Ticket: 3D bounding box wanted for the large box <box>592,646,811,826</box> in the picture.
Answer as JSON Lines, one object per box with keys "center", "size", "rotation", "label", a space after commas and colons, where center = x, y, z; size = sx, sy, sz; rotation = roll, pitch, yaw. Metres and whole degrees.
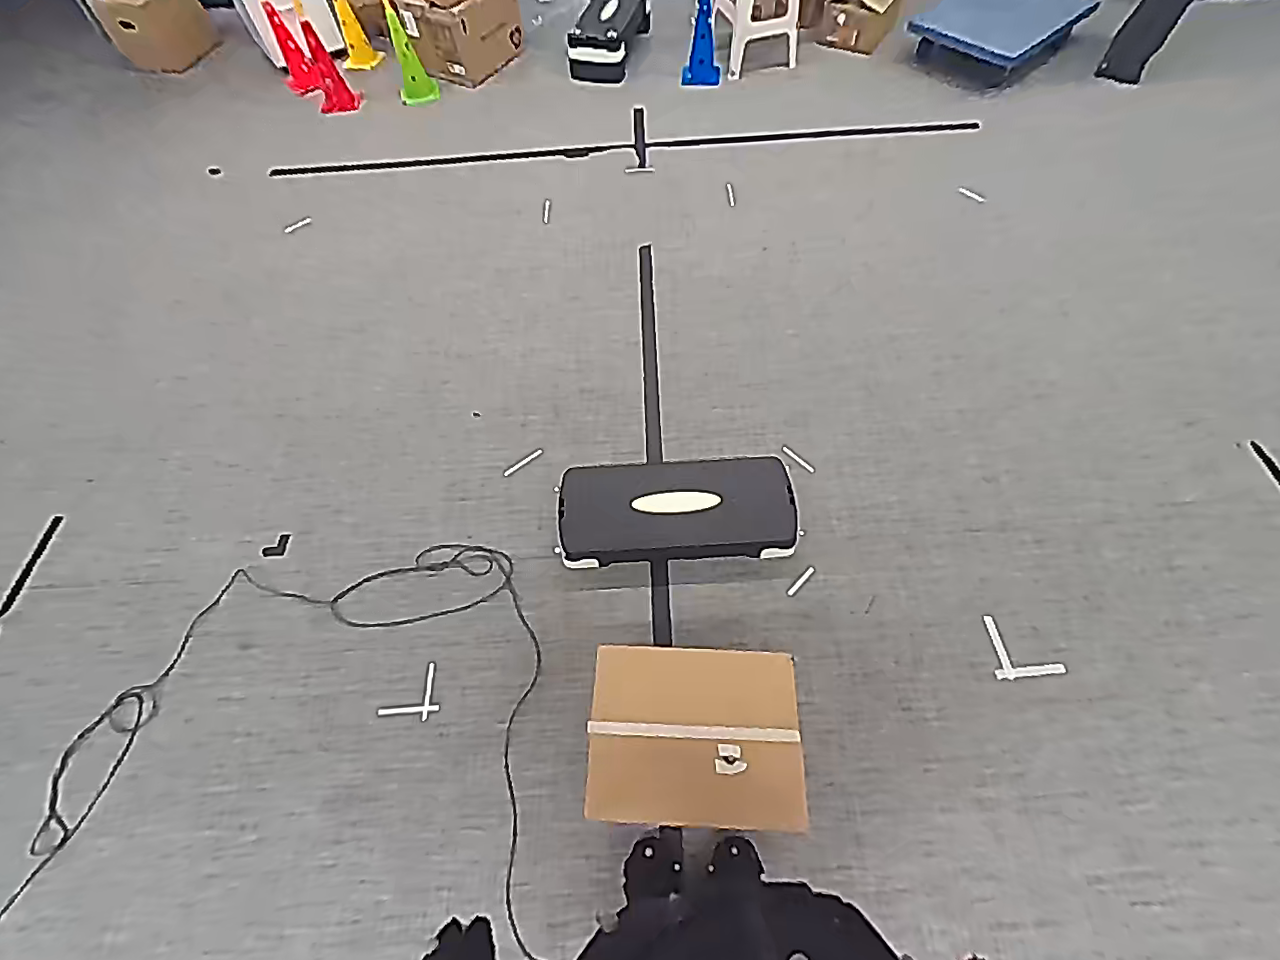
{"center": [0.115, 0.558, 1.174], "size": [0.408, 0.320, 0.320], "rotation": [1, 60, 2], "label": "large box"}
